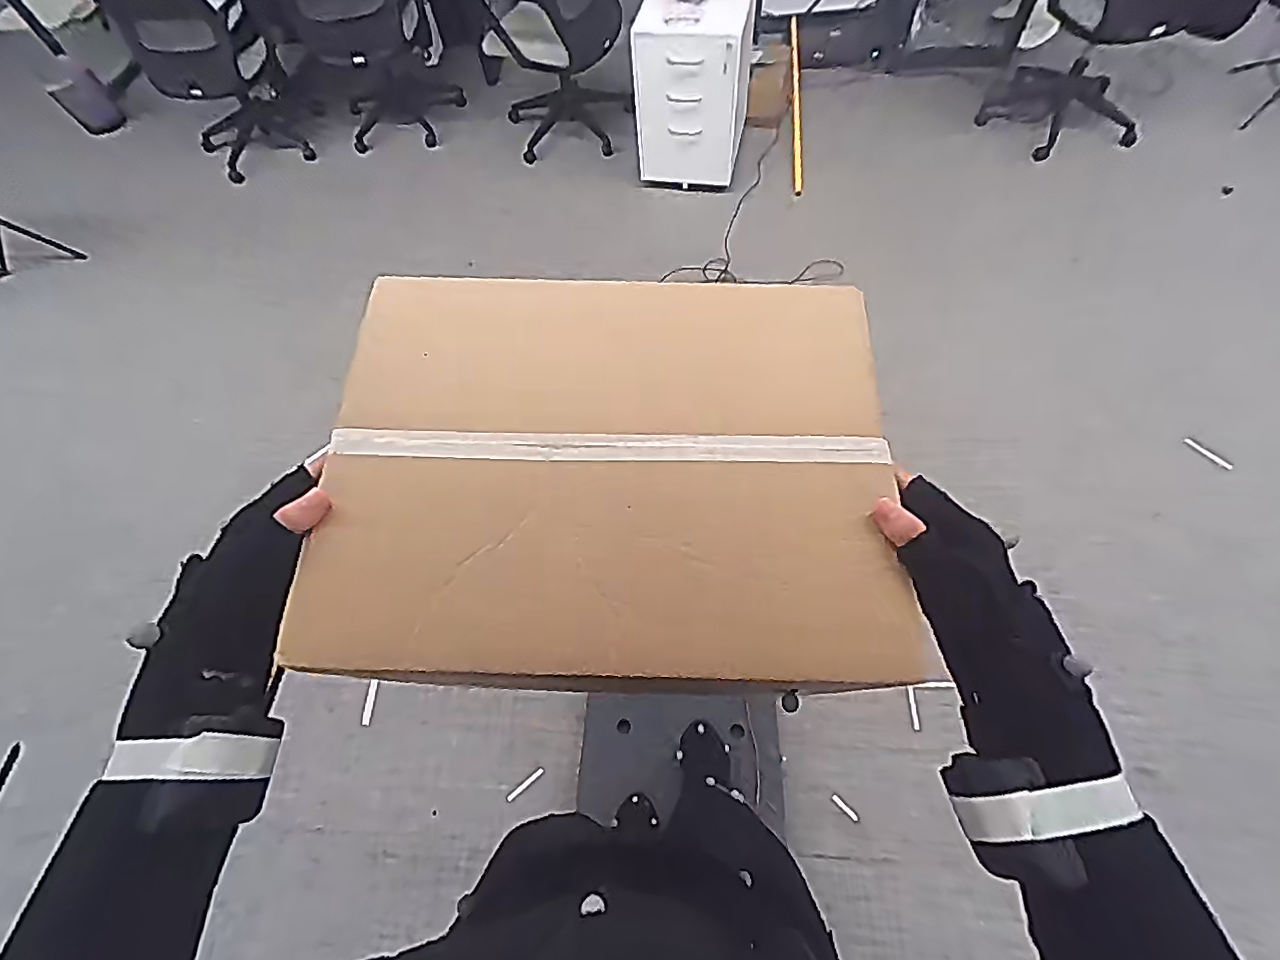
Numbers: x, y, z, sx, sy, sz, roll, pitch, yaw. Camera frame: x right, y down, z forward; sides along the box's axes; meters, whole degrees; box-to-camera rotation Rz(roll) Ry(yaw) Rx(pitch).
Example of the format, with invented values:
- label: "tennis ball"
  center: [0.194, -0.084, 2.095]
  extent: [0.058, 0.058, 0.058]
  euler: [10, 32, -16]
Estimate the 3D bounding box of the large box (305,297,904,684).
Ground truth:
- label: "large box"
  center: [-0.020, 0.040, 0.547]
  extent: [0.408, 0.320, 0.320]
  euler: [1, 67, 1]
